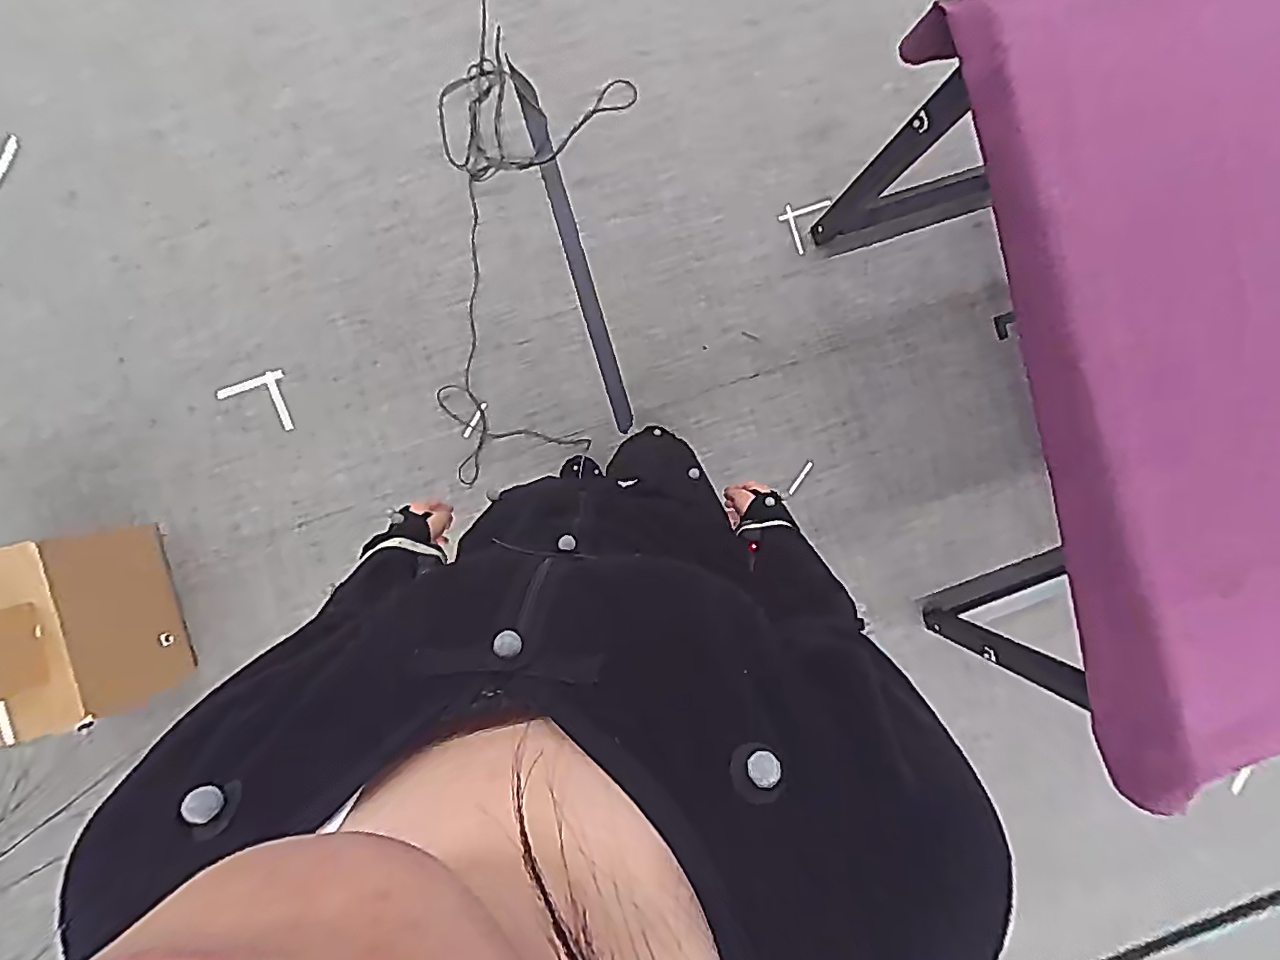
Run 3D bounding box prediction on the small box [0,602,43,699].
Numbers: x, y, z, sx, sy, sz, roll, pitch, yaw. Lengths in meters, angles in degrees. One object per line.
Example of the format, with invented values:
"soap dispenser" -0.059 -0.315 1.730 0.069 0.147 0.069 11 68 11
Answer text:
"small box" -1.307 0.348 1.026 0.168 0.176 0.179 -10 92 -4
